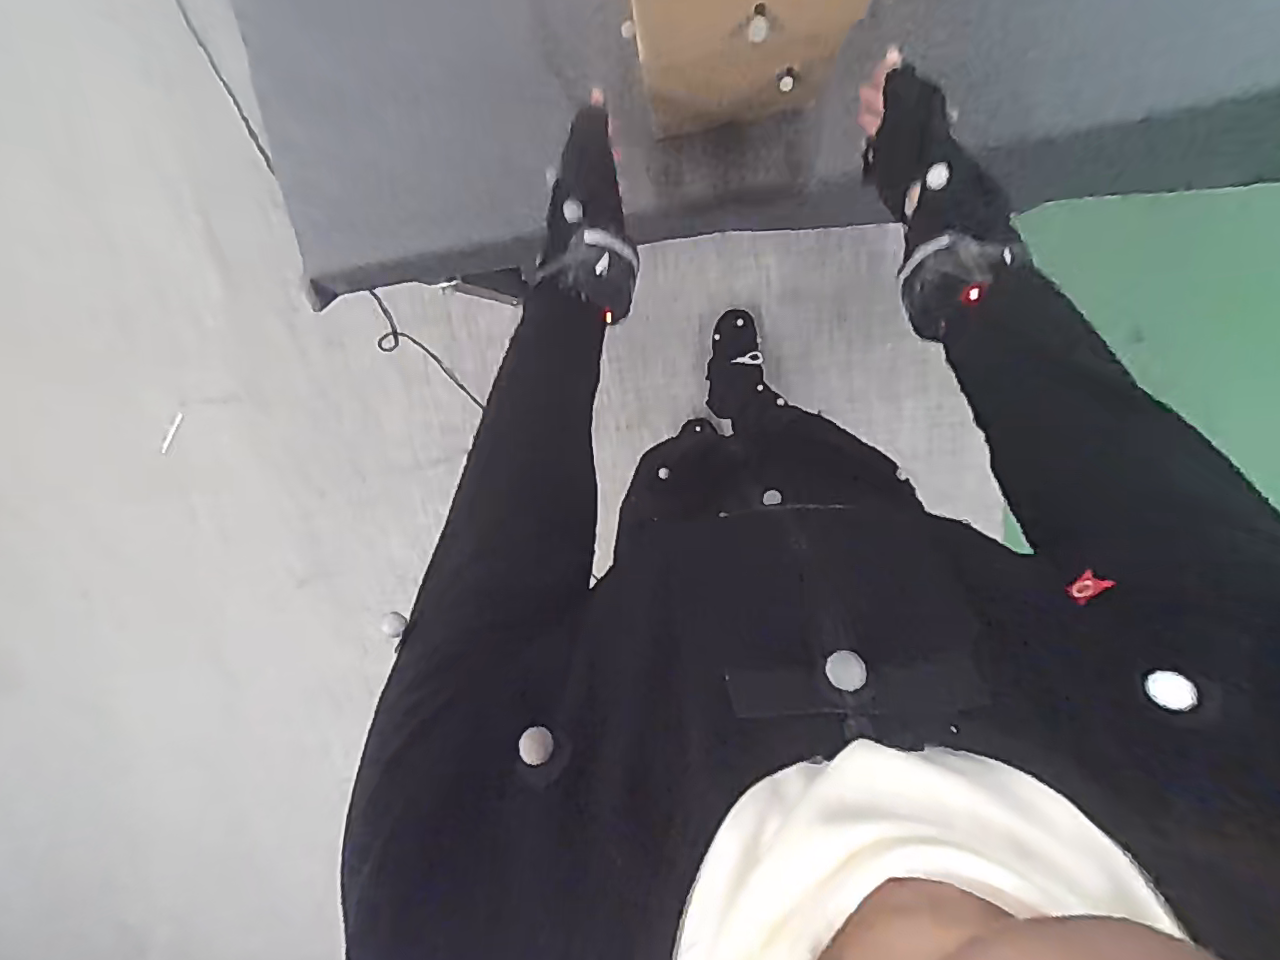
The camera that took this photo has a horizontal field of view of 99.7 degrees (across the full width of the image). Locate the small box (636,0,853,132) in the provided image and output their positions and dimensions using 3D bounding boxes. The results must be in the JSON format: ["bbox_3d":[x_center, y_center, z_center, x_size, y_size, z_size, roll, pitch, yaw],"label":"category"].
[{"bbox_3d":[0.080,-0.457,0.498,0.179,0.176,0.168,-8,101,9],"label":"small box"}]

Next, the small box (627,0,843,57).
[{"bbox_3d":[0.066,-0.415,0.342,0.179,0.176,0.168,-8,102,7],"label":"small box"}]
